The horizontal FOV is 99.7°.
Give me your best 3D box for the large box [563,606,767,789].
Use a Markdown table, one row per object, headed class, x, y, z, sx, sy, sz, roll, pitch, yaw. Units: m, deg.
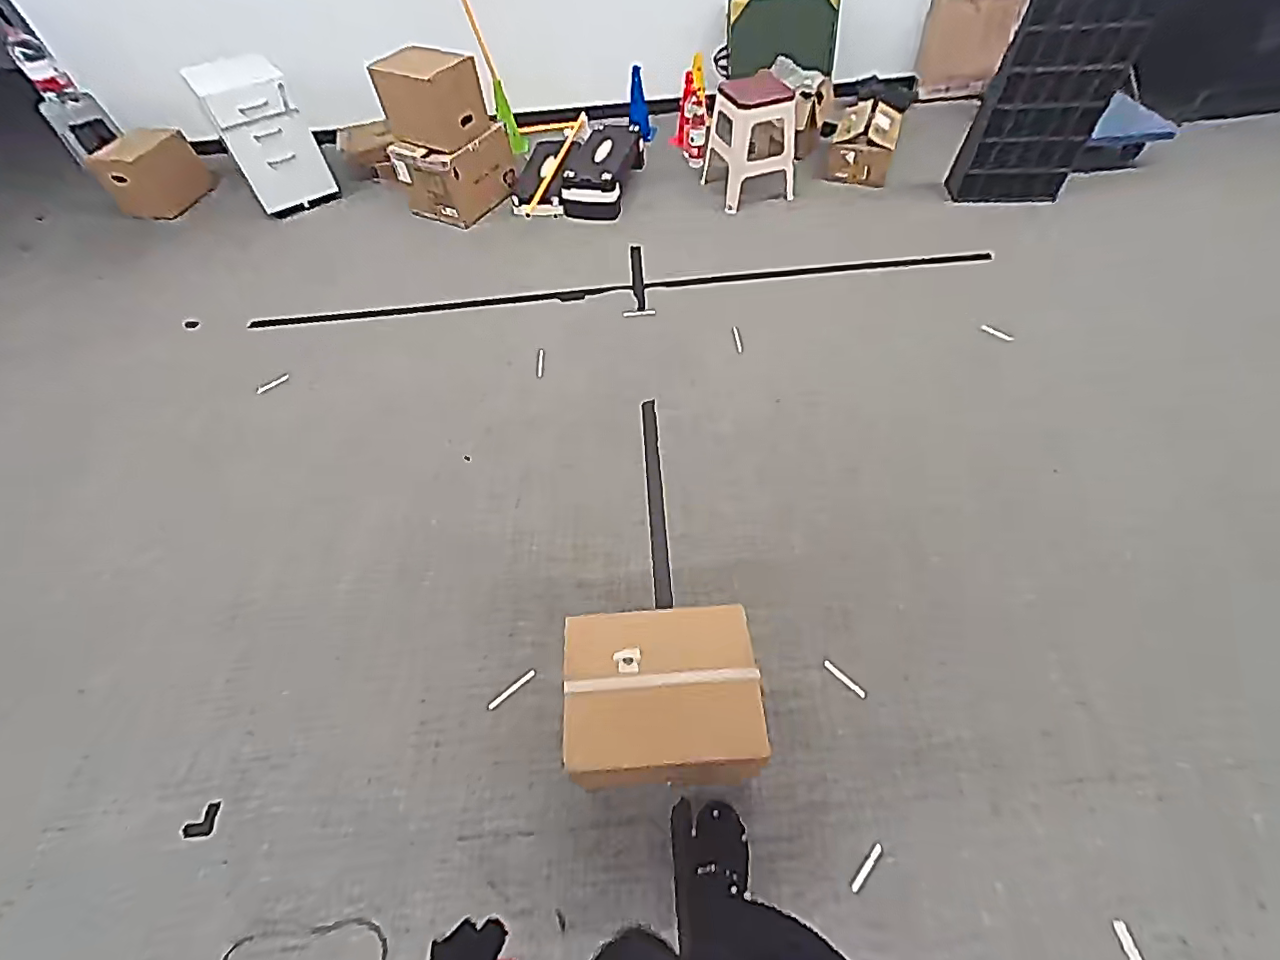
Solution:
| class | x | y | z | sx | sy | sz | roll | pitch | yaw |
| --- | --- | --- | --- | --- | --- | --- | --- | --- | --- |
| large box | 0.050 | 0.511 | 1.247 | 0.408 | 0.320 | 0.320 | -5 | 53 | 1 |
